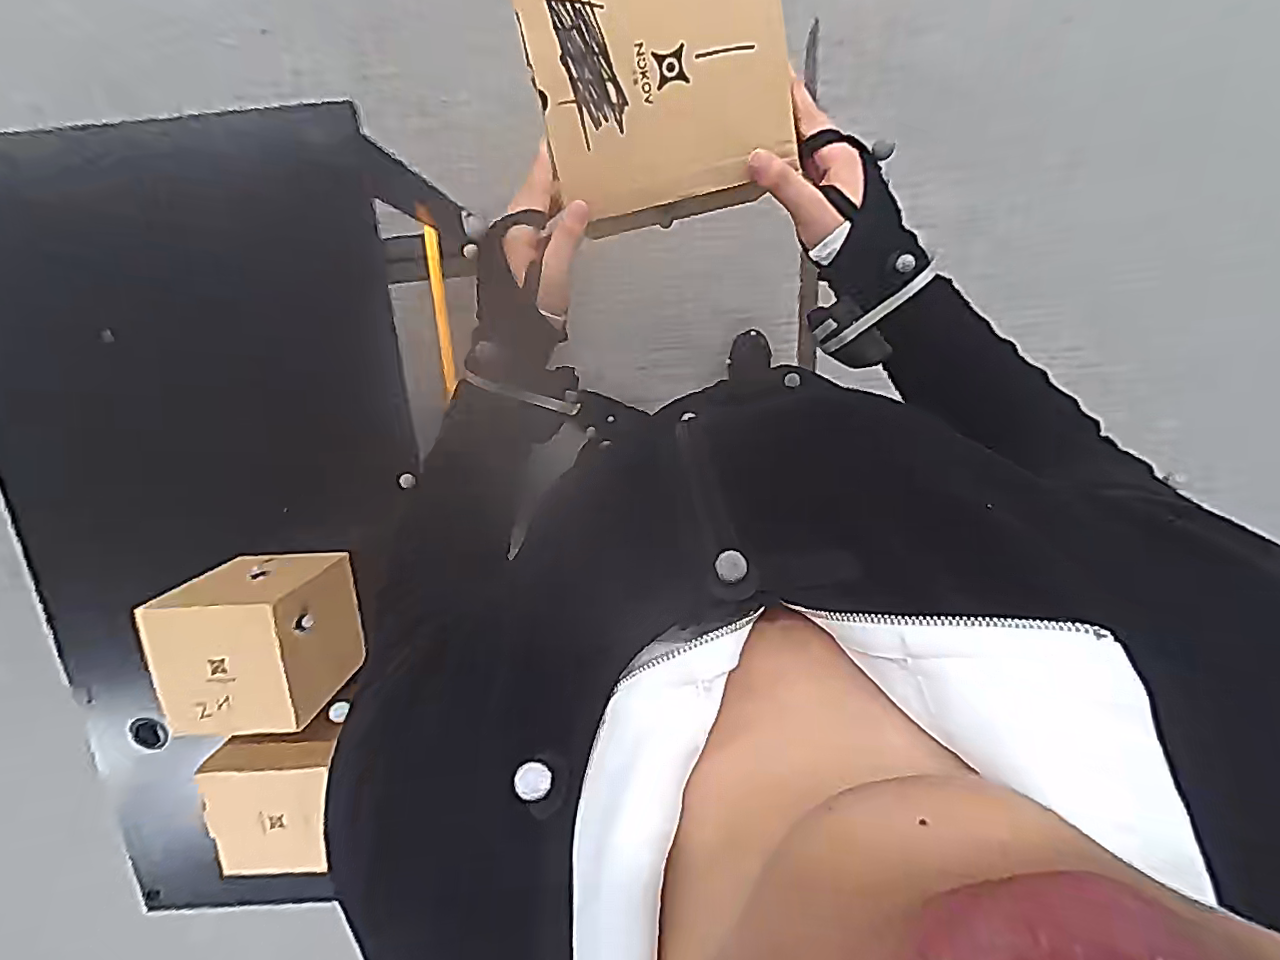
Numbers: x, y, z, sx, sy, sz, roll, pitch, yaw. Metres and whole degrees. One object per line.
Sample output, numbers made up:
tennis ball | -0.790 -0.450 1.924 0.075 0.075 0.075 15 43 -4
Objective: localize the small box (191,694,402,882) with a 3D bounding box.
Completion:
small box | -0.473 0.429 0.772 0.179 0.176 0.168 -4 105 1

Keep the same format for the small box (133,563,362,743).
small box | -0.502 0.217 0.721 0.168 0.176 0.179 -2 104 2
